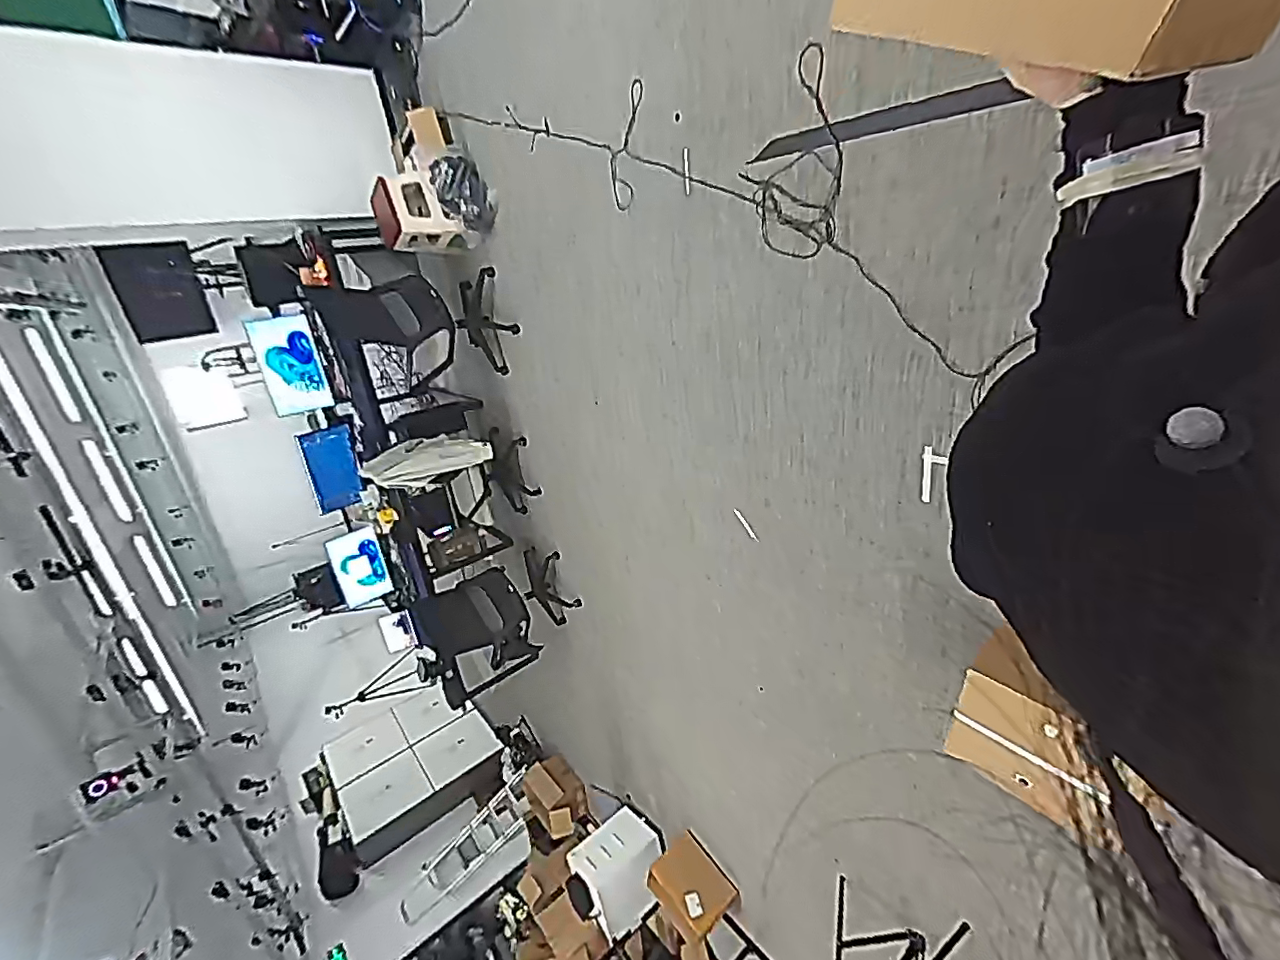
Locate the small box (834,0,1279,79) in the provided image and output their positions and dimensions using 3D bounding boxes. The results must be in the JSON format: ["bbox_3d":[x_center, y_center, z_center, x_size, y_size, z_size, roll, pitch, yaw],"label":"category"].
[{"bbox_3d":[0.236,-0.315,0.260,0.179,0.176,0.168,46,149,34],"label":"small box"}]
